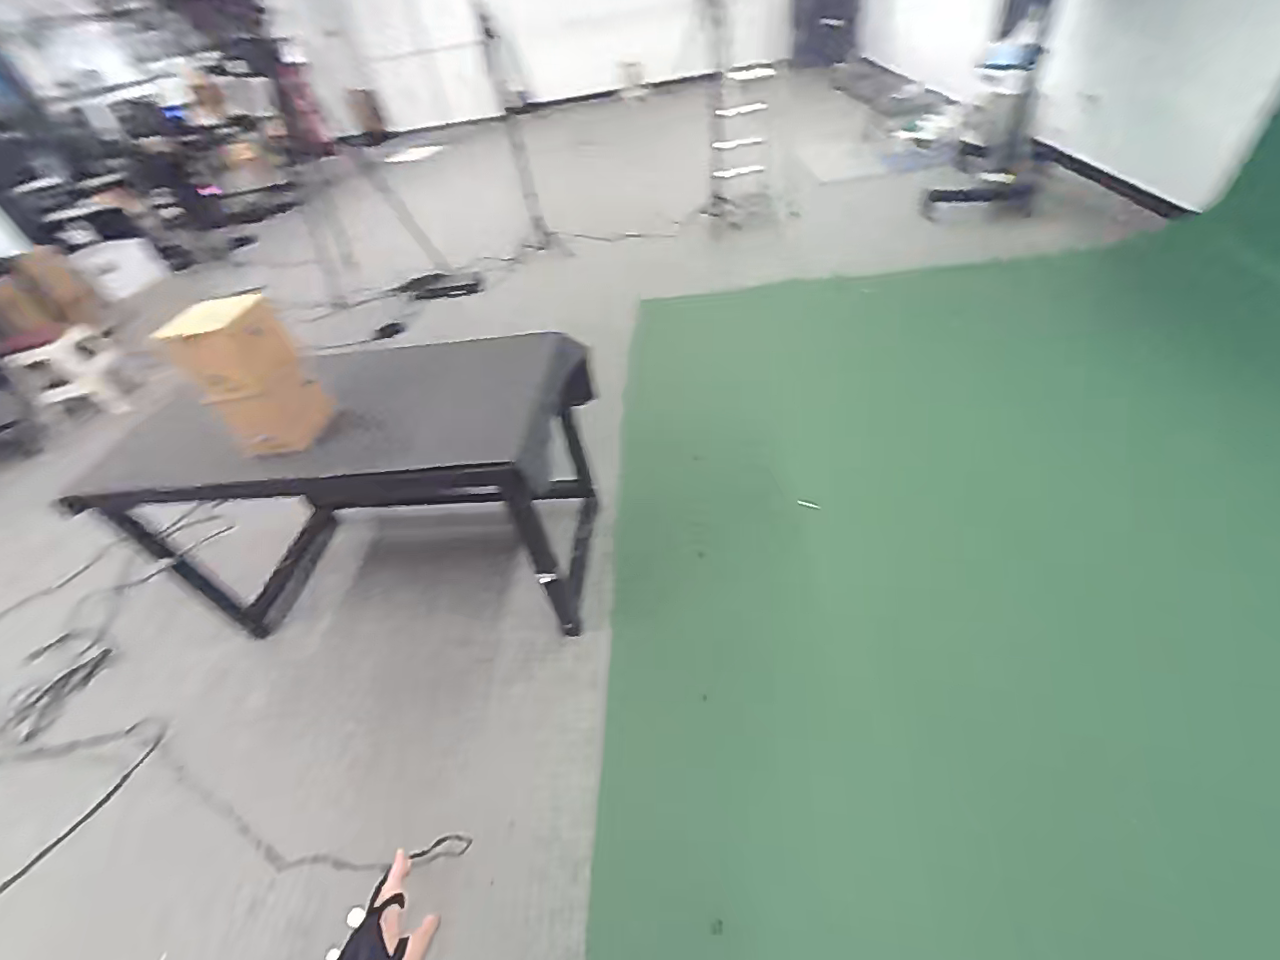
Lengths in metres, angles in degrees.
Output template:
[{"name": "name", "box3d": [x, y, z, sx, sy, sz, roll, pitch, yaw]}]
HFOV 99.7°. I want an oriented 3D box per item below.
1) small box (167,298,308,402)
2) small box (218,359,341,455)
[{"name": "small box", "box3d": [-0.920, -0.302, 1.262, 0.168, 0.176, 0.179, -4, 43, 7]}, {"name": "small box", "box3d": [-0.897, -0.184, 1.370, 0.168, 0.176, 0.179, -5, 42, 8]}]
